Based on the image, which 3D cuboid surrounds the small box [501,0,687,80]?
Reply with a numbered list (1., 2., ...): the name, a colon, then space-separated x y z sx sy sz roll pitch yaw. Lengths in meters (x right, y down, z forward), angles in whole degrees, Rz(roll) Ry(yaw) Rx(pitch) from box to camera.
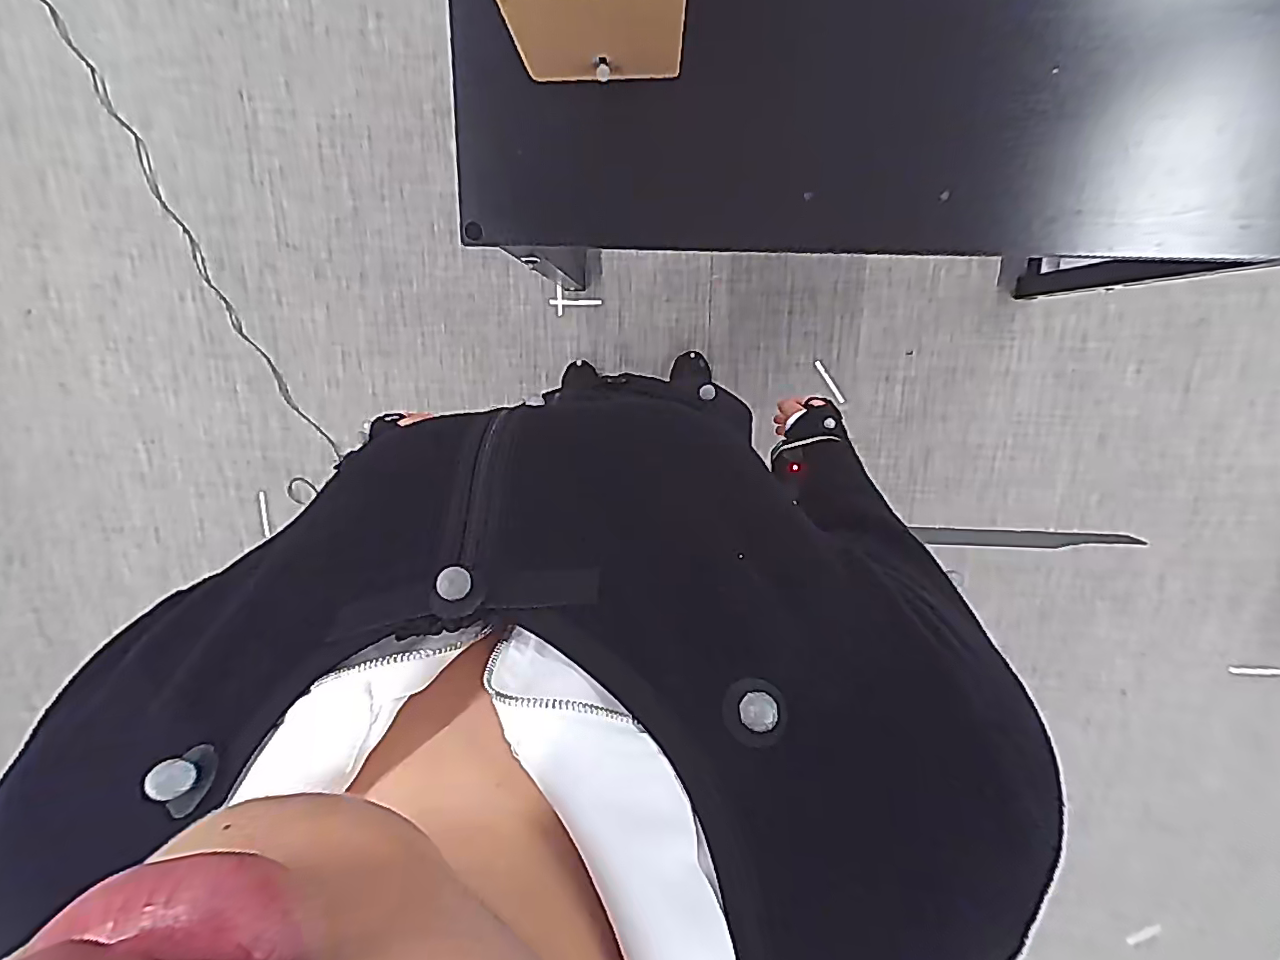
1. small box: -0.044 -0.535 0.544 0.179 0.176 0.168 -1 103 0
